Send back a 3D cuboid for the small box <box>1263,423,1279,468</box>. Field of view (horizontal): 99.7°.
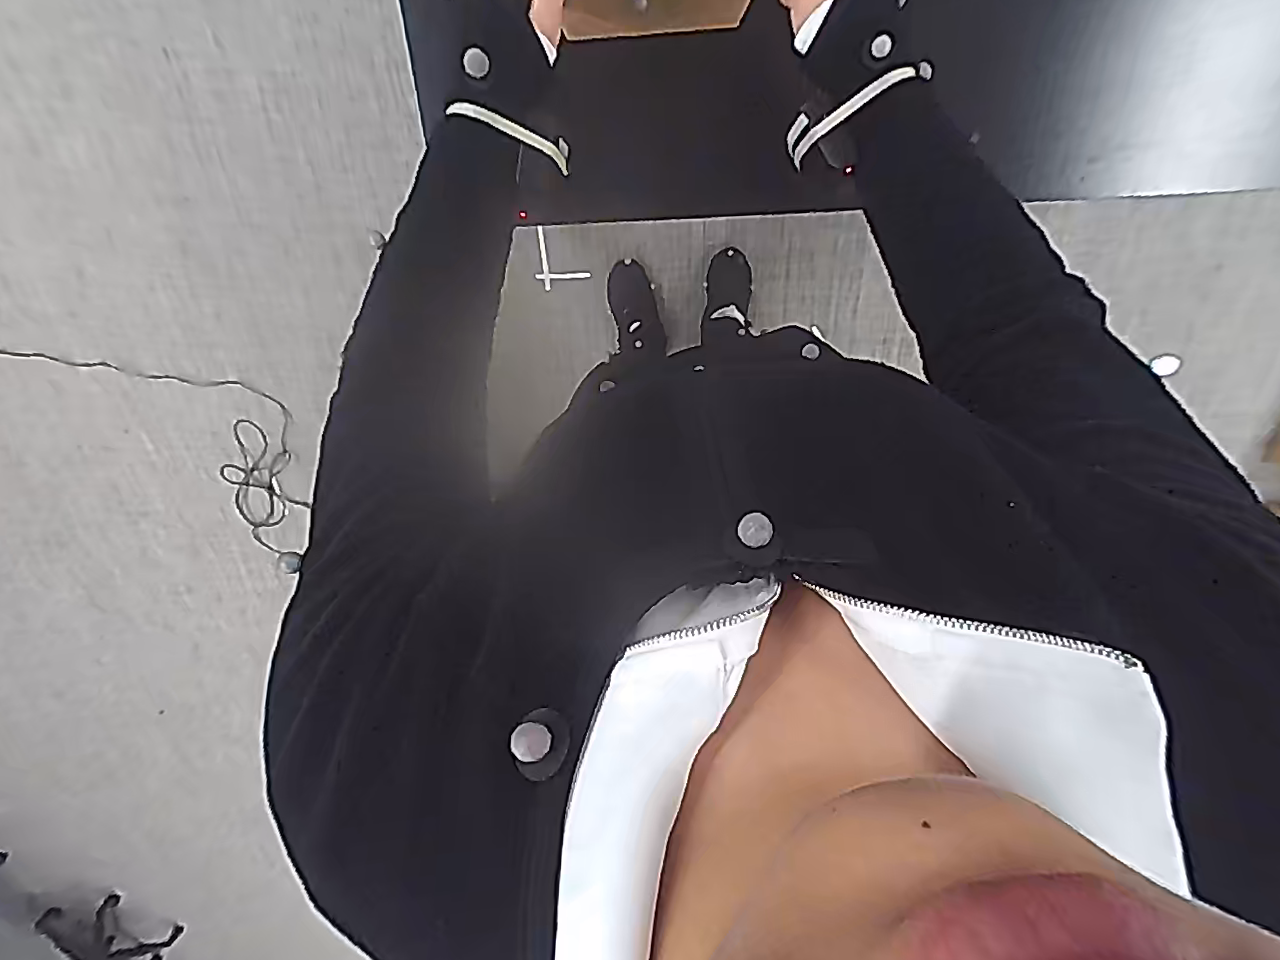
[{"bbox_3d":[1.838,-0.095,1.429,0.168,0.176,0.179,0,116,1],"label":"small box"}]

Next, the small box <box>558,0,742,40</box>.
[{"bbox_3d":[0.007,-0.494,0.449,0.179,0.176,0.168,-3,116,1],"label":"small box"}]
